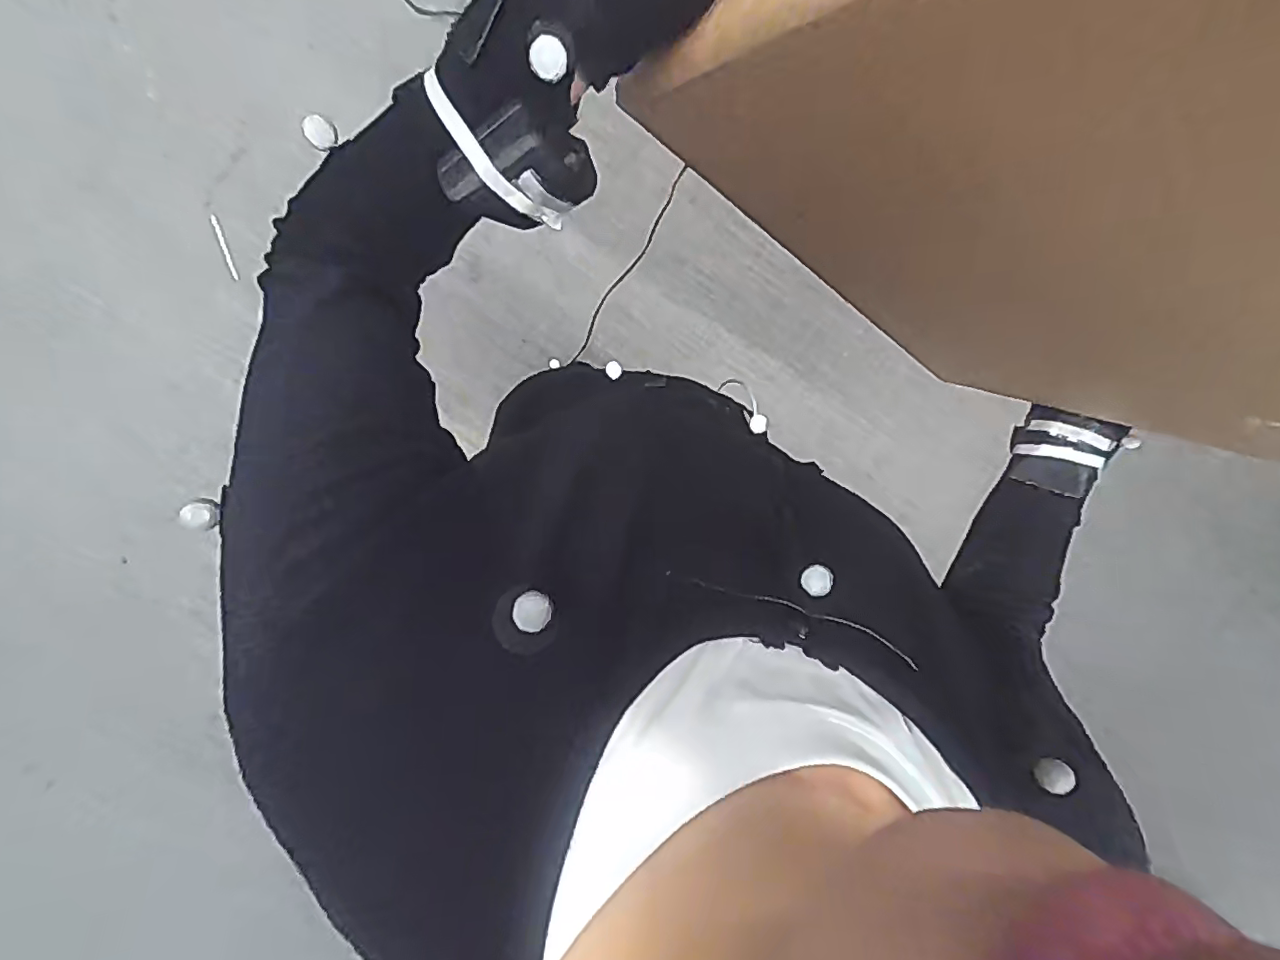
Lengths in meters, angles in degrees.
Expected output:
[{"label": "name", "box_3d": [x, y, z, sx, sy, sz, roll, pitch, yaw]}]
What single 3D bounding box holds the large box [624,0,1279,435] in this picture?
[{"label": "large box", "box_3d": [0.268, -0.247, 0.271, 0.408, 0.320, 0.320, 21, 102, -33]}]
